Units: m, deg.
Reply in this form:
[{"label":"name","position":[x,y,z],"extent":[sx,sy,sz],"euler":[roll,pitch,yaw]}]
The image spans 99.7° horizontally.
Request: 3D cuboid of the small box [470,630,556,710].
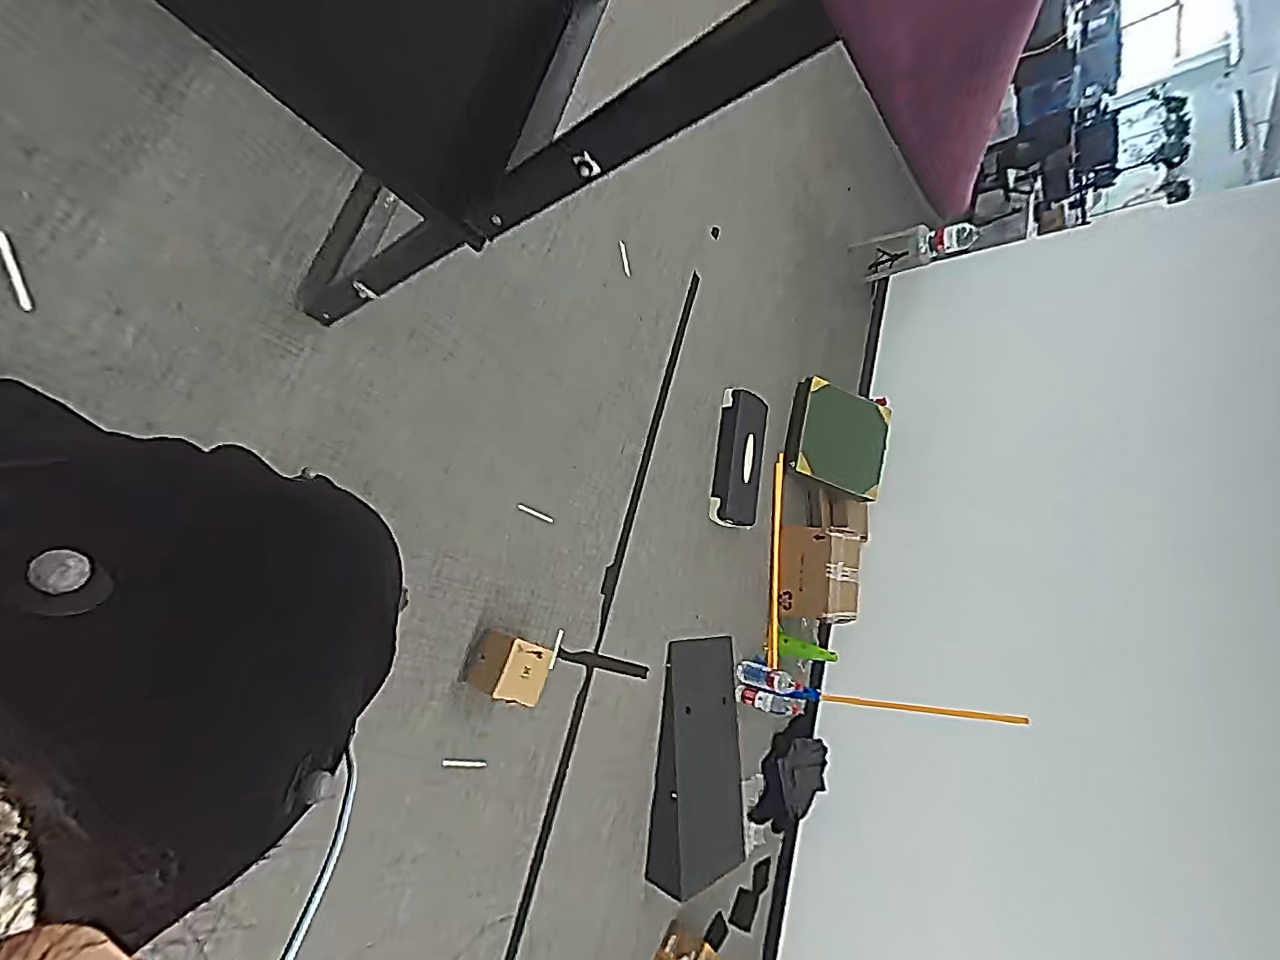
[{"label":"small box","position":[-0.398,0.584,1.675],"extent":[0.168,0.176,0.179],"euler":[38,64,-40]}]
